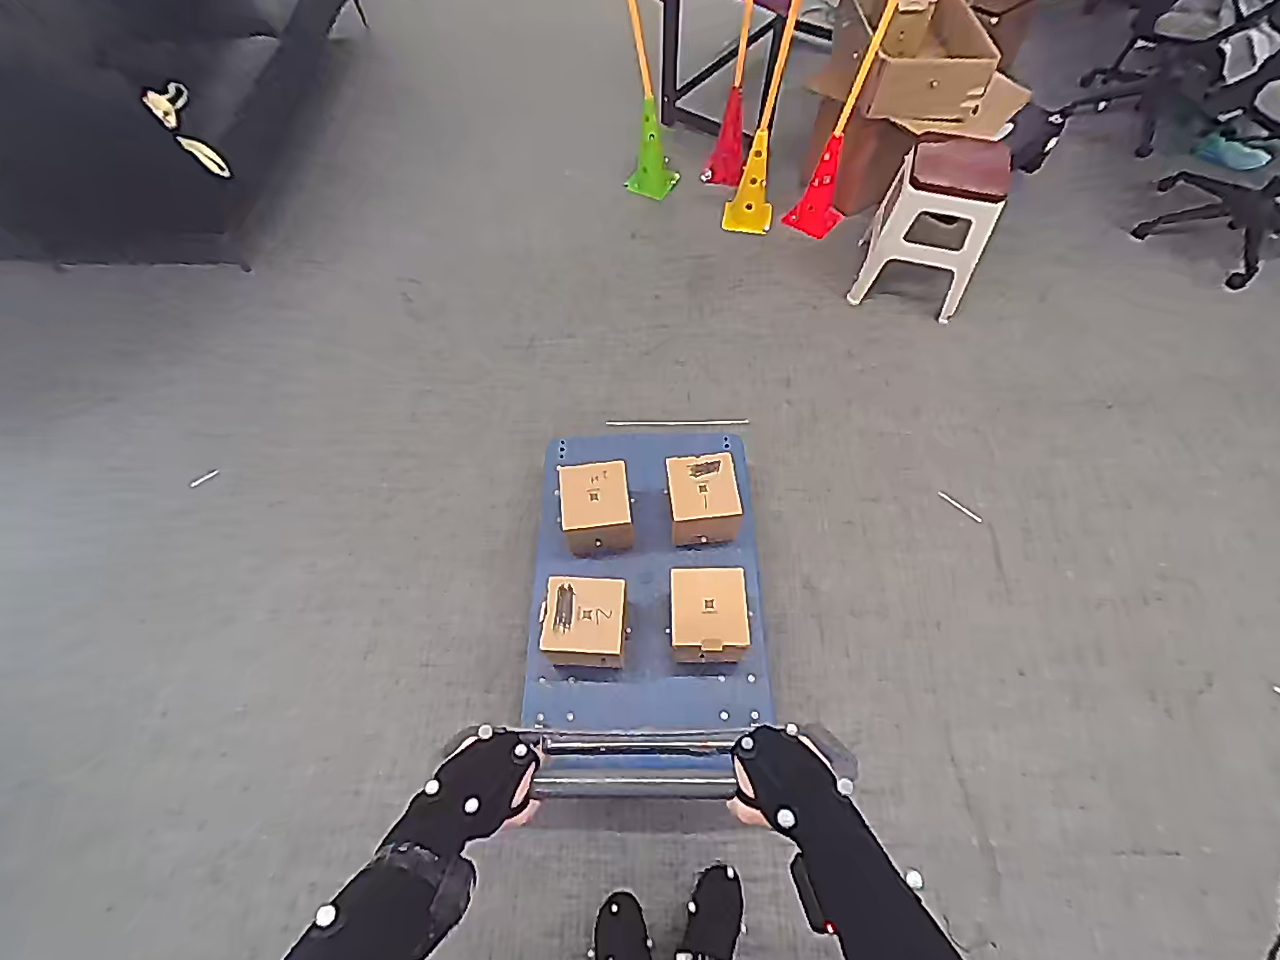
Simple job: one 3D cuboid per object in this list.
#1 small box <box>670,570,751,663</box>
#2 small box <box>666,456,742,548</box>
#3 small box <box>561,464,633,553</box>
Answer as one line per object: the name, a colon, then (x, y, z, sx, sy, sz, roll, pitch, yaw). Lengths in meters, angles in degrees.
small box: (0.155, 0.319, 1.252, 0.168, 0.176, 0.179, -1, 62, 1)
small box: (0.157, 0.058, 1.393, 0.168, 0.176, 0.179, -6, 62, -1)
small box: (-0.109, 0.079, 1.389, 0.168, 0.176, 0.179, -6, 61, -2)
